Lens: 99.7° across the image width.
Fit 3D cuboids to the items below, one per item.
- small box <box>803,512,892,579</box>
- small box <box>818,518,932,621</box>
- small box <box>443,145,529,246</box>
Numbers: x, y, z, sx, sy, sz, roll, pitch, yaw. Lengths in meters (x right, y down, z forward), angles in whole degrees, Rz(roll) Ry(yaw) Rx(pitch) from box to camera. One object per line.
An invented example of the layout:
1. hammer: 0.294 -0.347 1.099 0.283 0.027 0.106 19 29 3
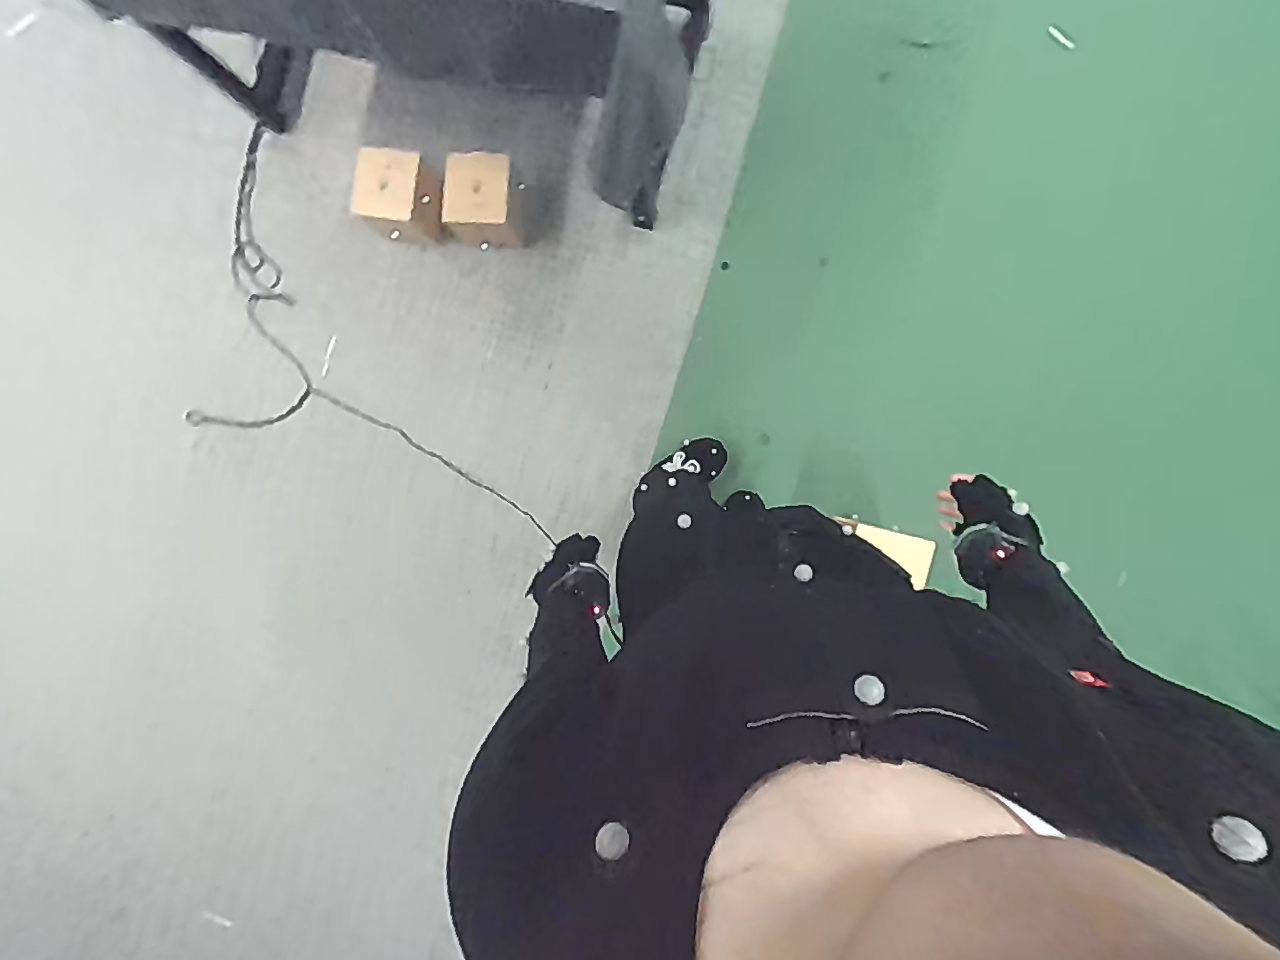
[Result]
1. small box: 0.530 0.182 1.373 0.179 0.176 0.168 16 93 6
2. small box: 0.515 0.191 1.210 0.168 0.176 0.179 15 93 4
3. small box: -0.399 -0.744 1.425 0.168 0.176 0.179 5 92 5
